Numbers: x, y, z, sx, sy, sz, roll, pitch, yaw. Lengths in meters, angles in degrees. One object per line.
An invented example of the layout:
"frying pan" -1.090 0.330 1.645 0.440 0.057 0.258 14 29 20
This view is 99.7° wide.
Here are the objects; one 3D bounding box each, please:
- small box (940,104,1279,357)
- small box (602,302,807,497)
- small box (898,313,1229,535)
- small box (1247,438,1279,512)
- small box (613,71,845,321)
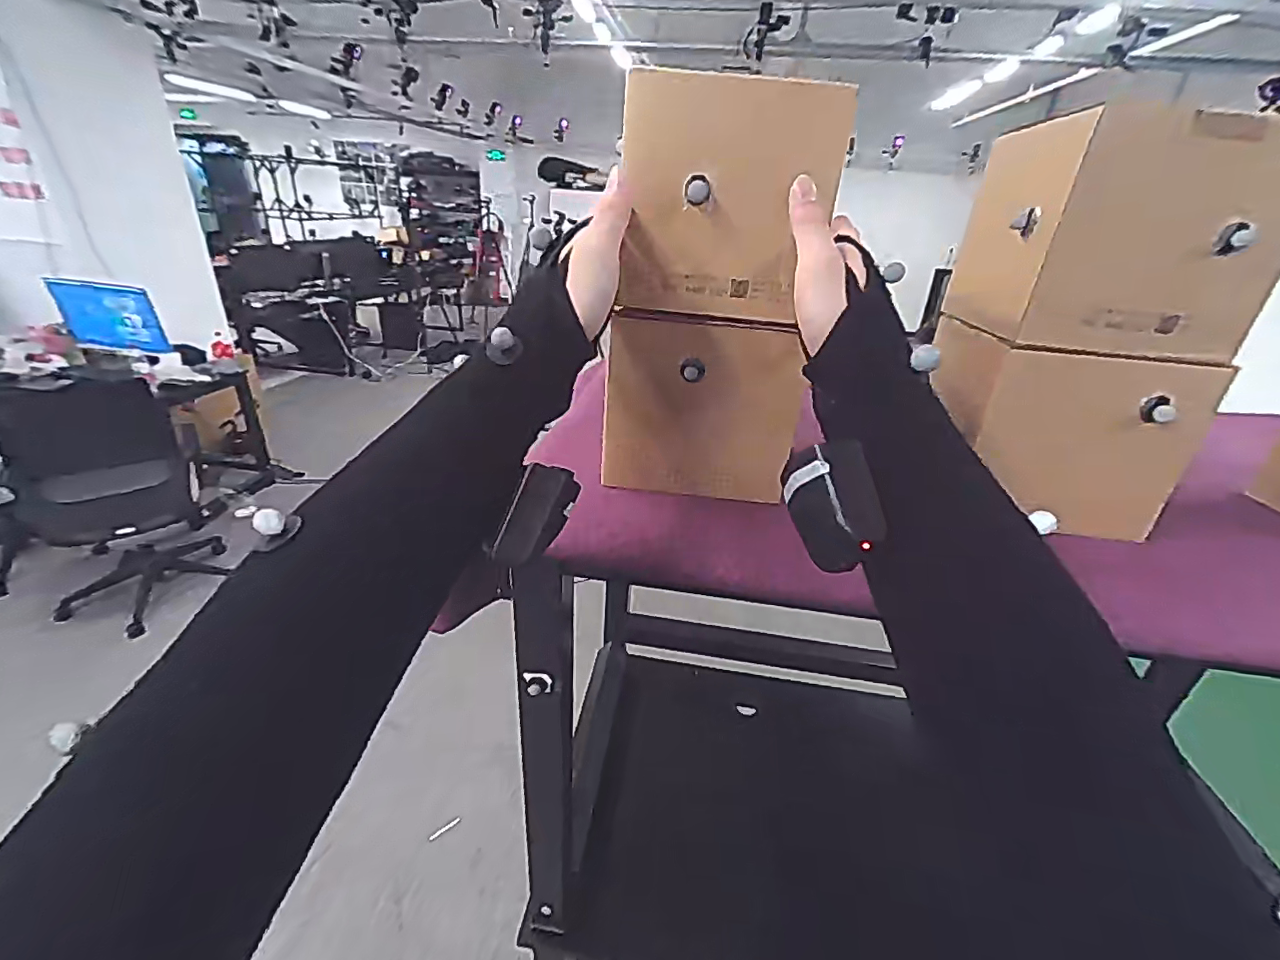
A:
"small box" 0.397 -0.210 0.475 0.168 0.176 0.179 8 26 6
"small box" 0.058 -0.095 0.563 0.179 0.176 0.168 6 27 3
"small box" 0.387 -0.061 0.539 0.179 0.176 0.168 7 26 7
"small box" 0.755 -0.016 0.498 0.179 0.176 0.168 7 24 6
"small box" 0.069 -0.245 0.493 0.168 0.176 0.179 7 24 3
